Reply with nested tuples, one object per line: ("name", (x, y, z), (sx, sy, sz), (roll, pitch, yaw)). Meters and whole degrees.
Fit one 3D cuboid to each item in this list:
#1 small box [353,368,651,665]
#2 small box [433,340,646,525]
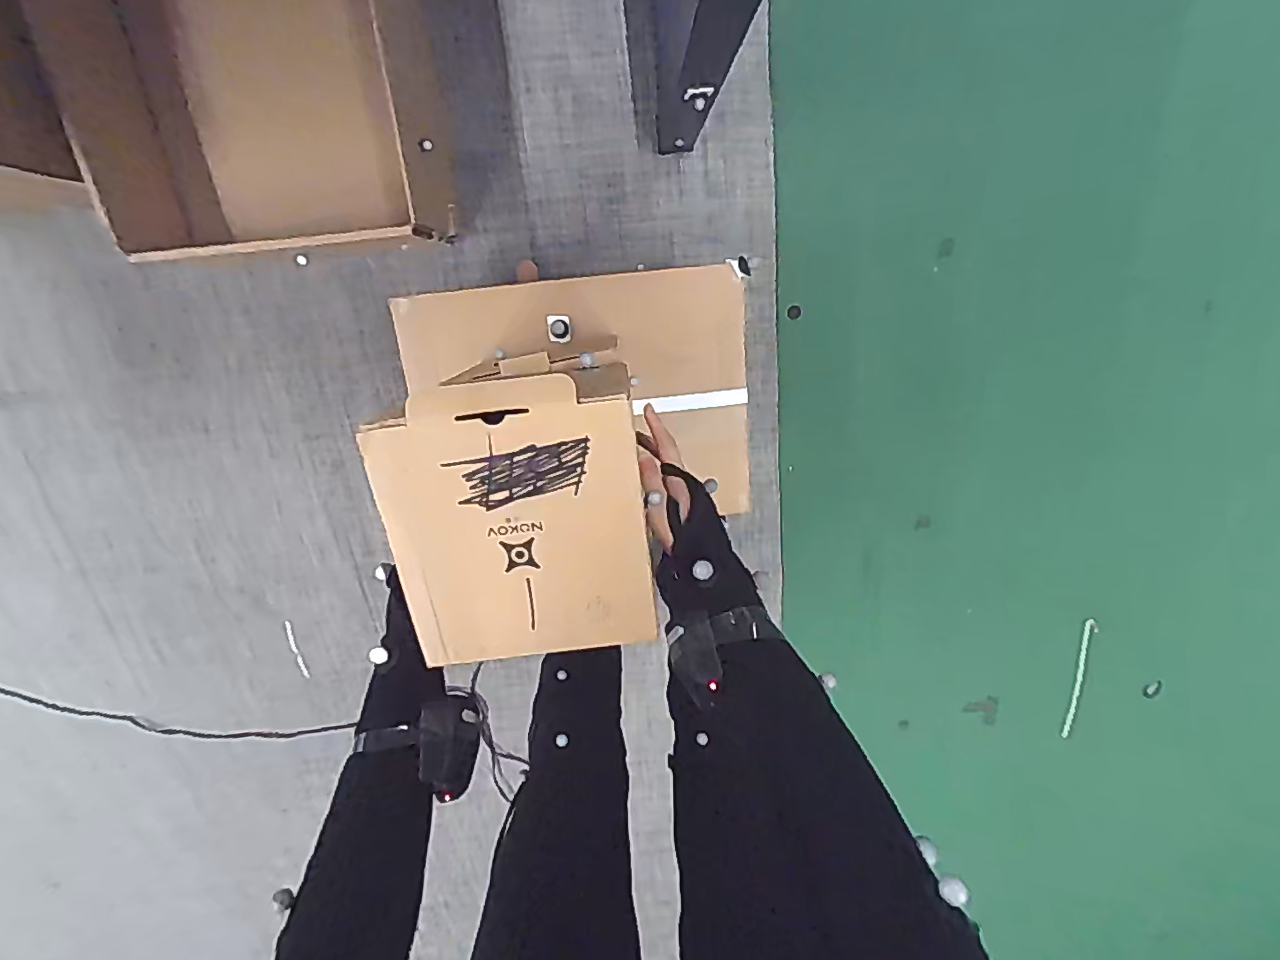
("small box", (-0.085, 0.012, 0.421), (0.168, 0.176, 0.179), (-7, 109, 0))
("small box", (-0.092, -0.048, 0.574), (0.168, 0.176, 0.179), (-11, 109, 2))
